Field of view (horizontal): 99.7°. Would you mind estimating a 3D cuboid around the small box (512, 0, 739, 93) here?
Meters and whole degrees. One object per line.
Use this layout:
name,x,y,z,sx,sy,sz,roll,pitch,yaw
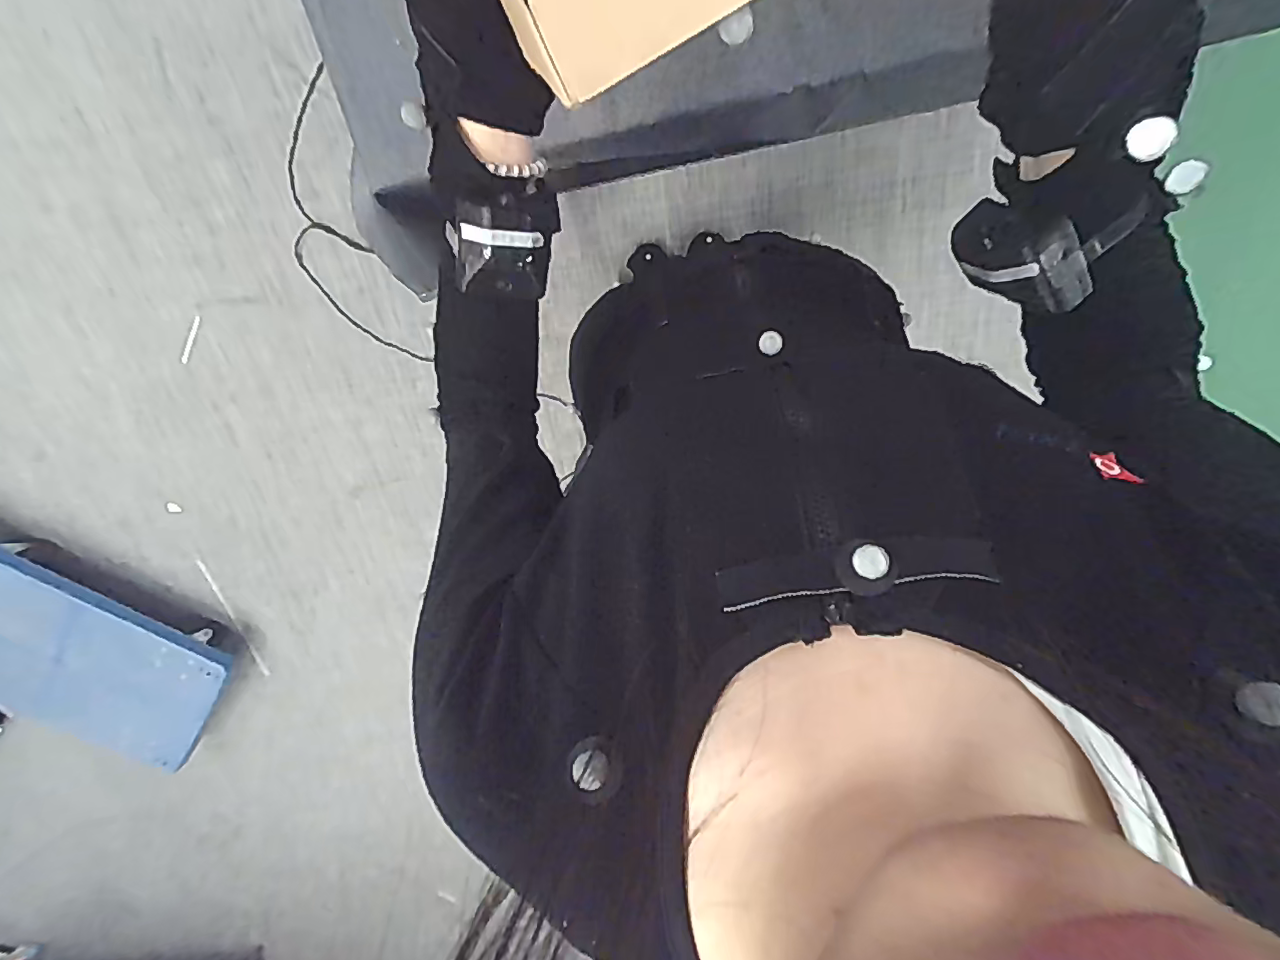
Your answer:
small box,0.003,-0.282,0.188,0.179,0.176,0.168,-26,135,9
